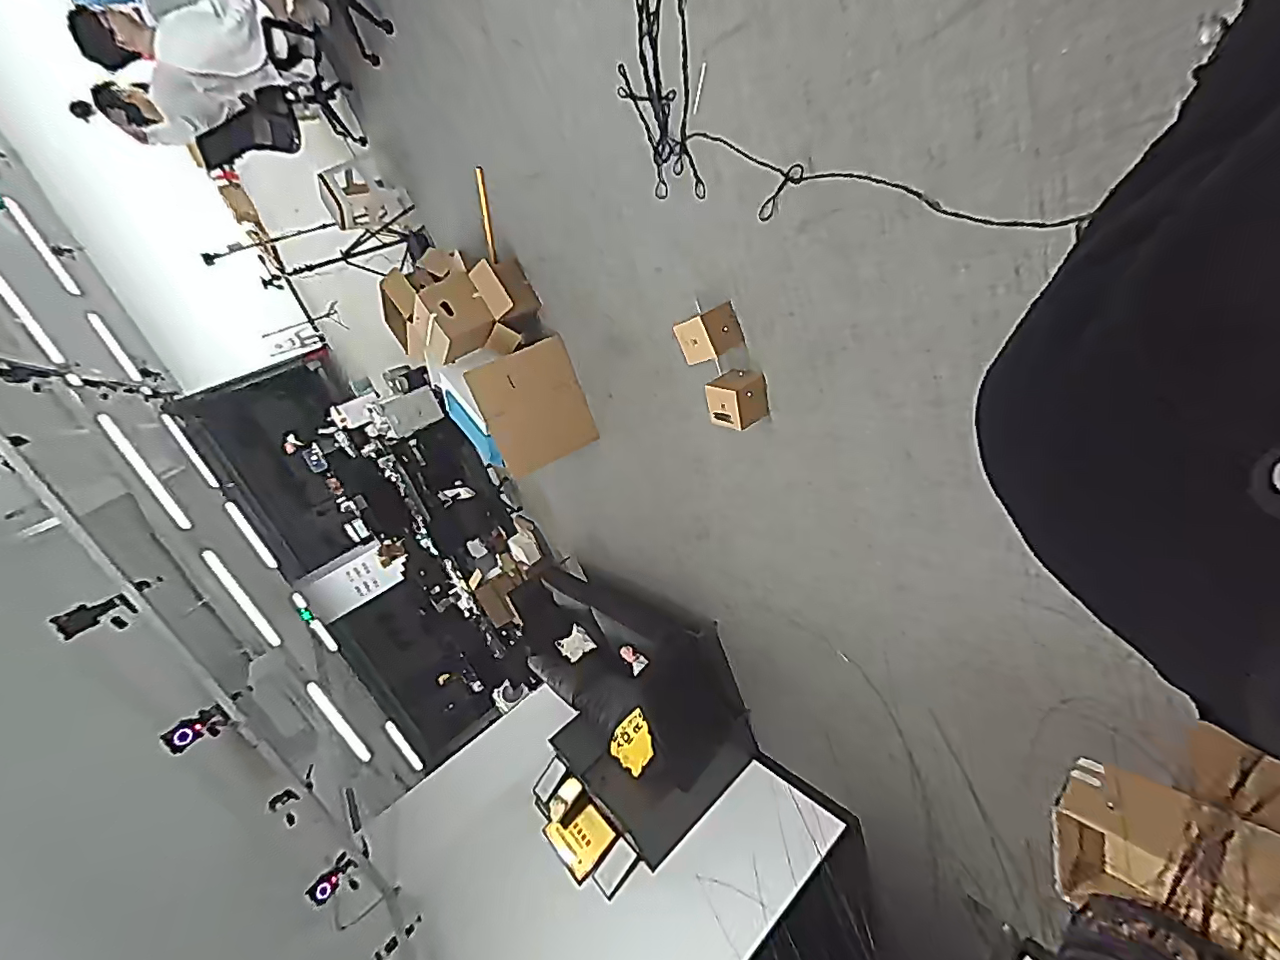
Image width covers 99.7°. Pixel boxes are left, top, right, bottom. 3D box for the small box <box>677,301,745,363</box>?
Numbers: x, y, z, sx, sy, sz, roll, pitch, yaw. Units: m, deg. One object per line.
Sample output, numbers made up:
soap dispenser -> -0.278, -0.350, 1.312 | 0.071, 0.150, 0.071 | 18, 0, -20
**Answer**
small box -> 0.283, -0.574, 2.091 | 0.179, 0.176, 0.168 | 1, 120, 59
